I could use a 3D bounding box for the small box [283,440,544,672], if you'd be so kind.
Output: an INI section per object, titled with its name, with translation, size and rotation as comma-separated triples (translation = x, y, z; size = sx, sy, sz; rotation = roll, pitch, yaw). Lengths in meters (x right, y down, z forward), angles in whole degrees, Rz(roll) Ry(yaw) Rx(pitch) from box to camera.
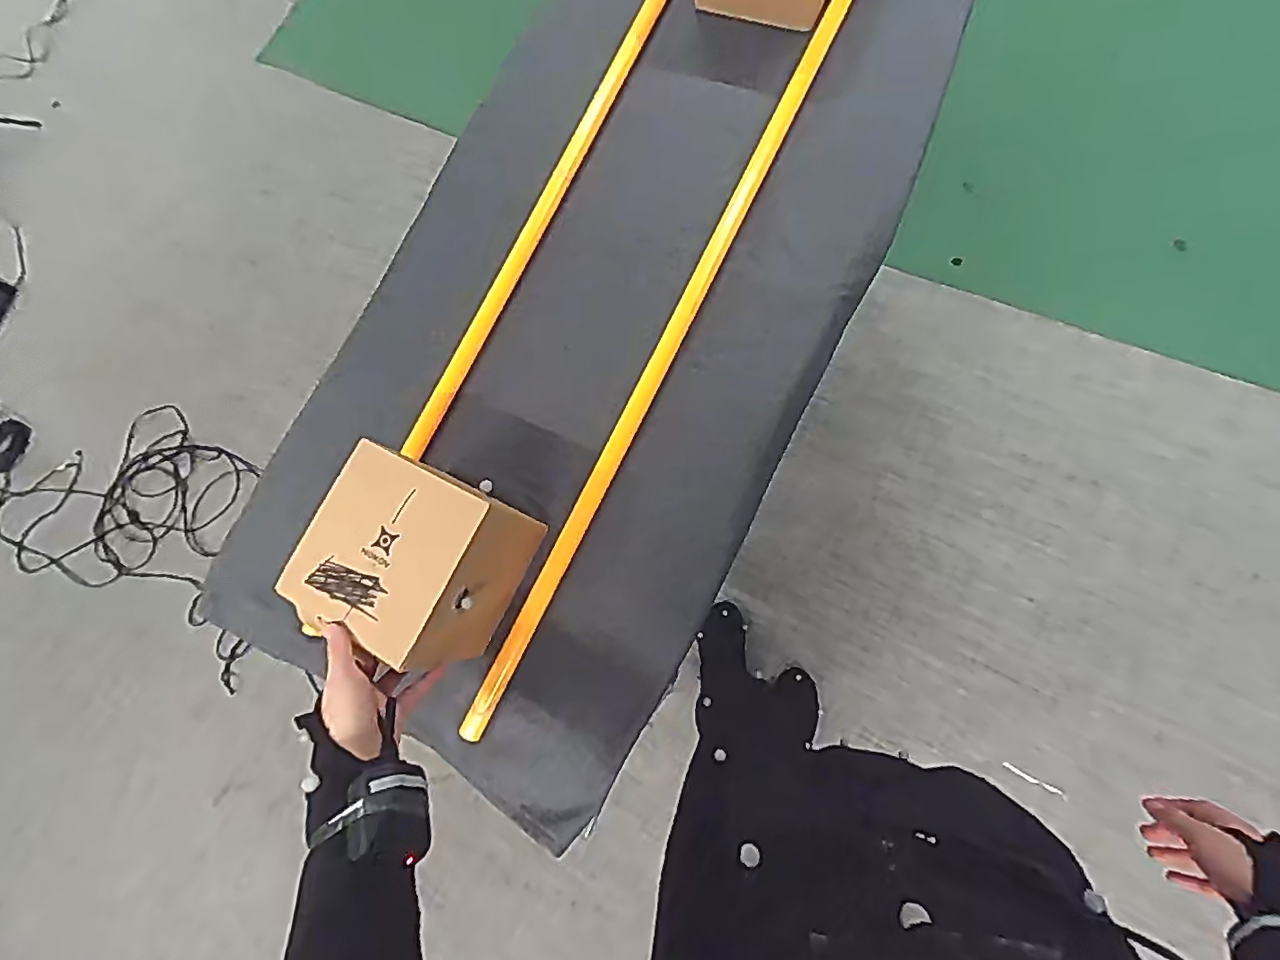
[small box]
translation = -0.231, 0.085, 0.600
size = 0.168, 0.176, 0.179
rotation = 25, 83, 14
